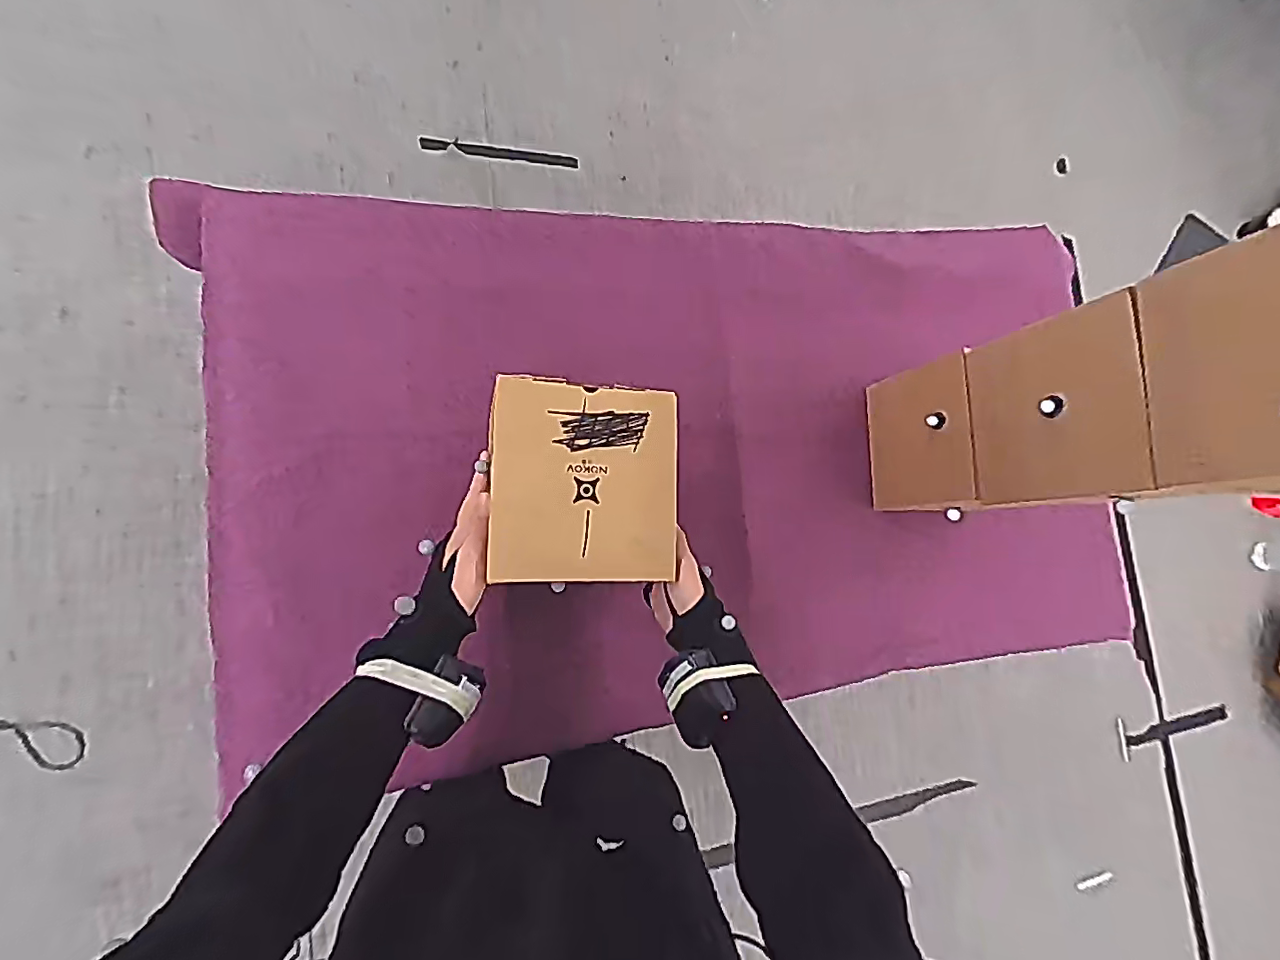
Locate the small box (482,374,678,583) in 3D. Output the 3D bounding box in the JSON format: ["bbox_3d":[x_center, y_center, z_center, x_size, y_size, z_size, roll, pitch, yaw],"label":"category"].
[{"bbox_3d":[-0.068,0.010,0.544,0.168,0.176,0.179,3,83,-16],"label":"small box"}]

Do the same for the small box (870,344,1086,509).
[{"bbox_3d":[0.419,-0.056,0.695,0.168,0.176,0.179,1,83,-15],"label":"small box"}]

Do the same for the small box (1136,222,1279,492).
[{"bbox_3d":[0.506,-0.086,0.381,0.168,0.176,0.179,3,82,-17],"label":"small box"}]
